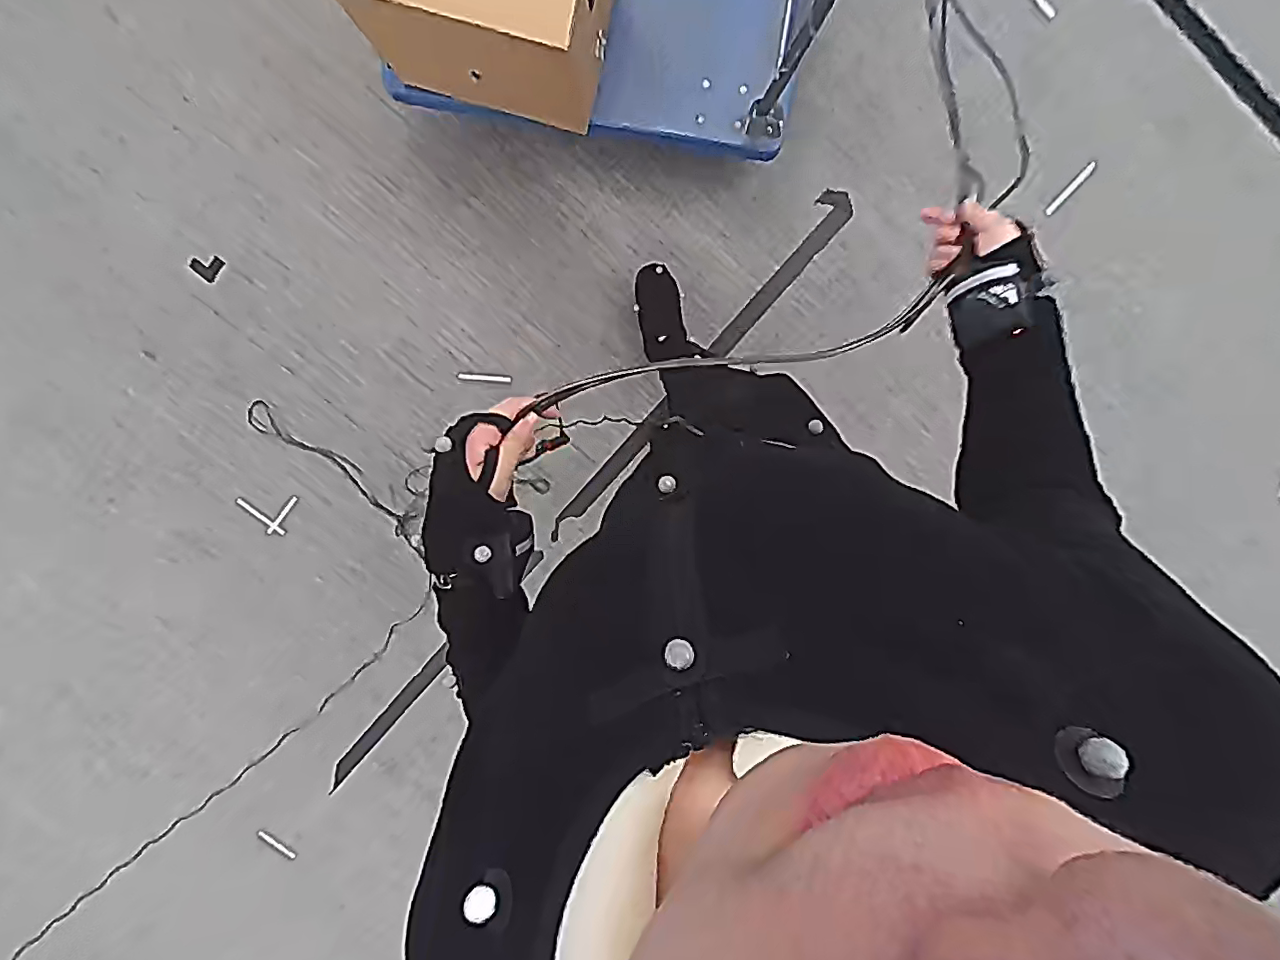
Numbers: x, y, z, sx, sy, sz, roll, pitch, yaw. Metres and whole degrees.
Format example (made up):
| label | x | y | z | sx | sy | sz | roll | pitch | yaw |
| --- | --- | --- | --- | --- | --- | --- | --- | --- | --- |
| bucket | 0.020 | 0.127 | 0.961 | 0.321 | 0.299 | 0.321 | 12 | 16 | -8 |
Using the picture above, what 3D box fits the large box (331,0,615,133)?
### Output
| label | x | y | z | sx | sy | sz | roll | pitch | yaw |
| --- | --- | --- | --- | --- | --- | --- | --- | --- | --- |
| large box | -0.269 | -0.894 | 0.975 | 0.408 | 0.320 | 0.320 | 14 | 100 | -2 |
